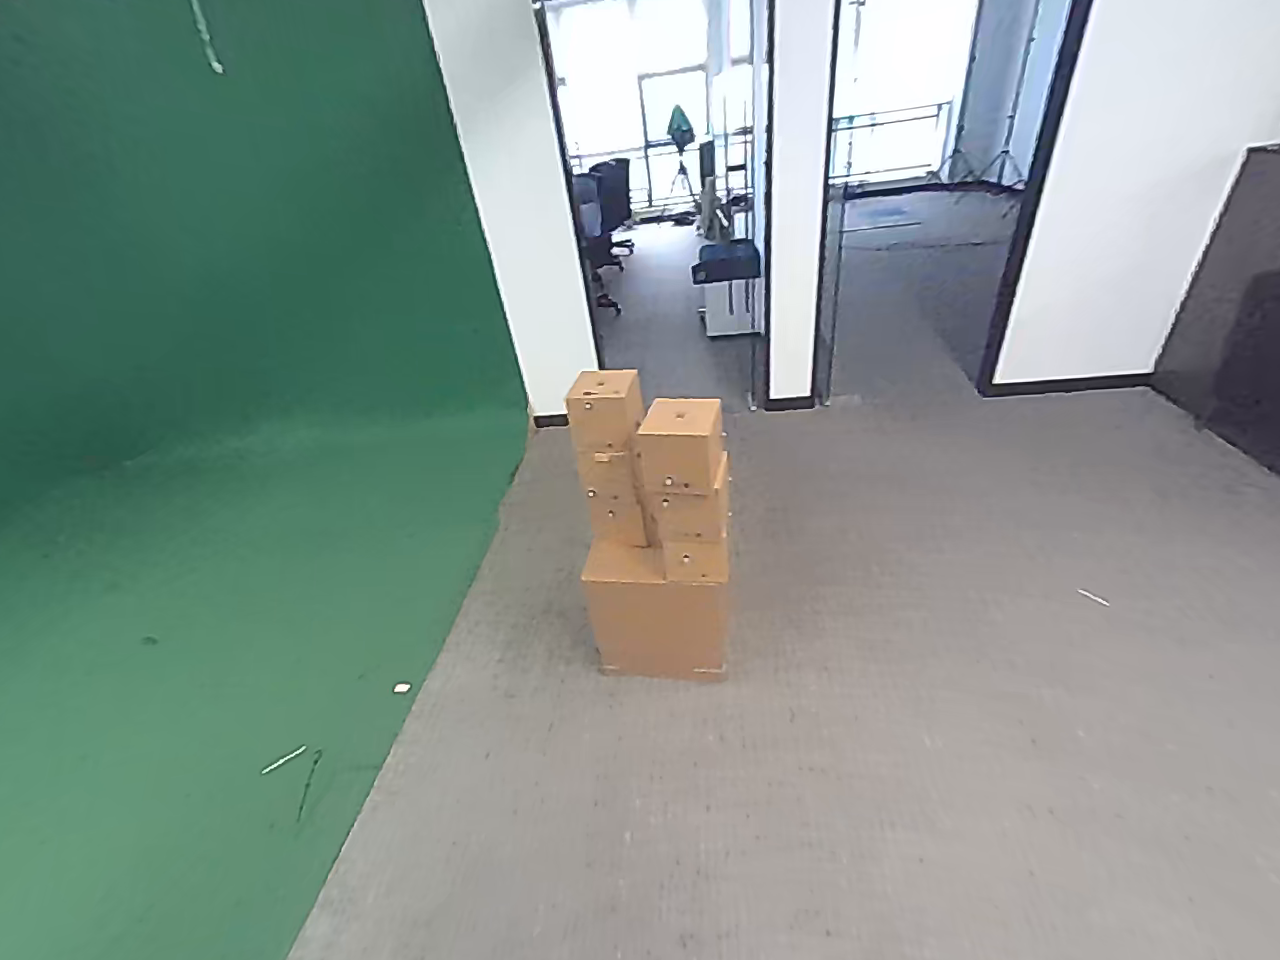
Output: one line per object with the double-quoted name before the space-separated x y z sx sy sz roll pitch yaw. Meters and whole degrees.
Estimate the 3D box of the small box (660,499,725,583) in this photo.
"small box" 0.153 0.172 1.514 0.168 0.176 0.179 -1 34 10

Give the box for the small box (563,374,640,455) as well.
"small box" -0.099 -0.185 1.504 0.168 0.176 0.179 0 33 13

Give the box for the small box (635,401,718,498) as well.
"small box" 0.096 -0.078 1.307 0.168 0.176 0.179 3 36 17

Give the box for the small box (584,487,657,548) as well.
"small box" -0.055 0.093 1.676 0.179 0.176 0.168 4 36 16

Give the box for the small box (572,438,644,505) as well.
"small box" -0.078 -0.044 1.588 0.168 0.176 0.179 5 34 18
